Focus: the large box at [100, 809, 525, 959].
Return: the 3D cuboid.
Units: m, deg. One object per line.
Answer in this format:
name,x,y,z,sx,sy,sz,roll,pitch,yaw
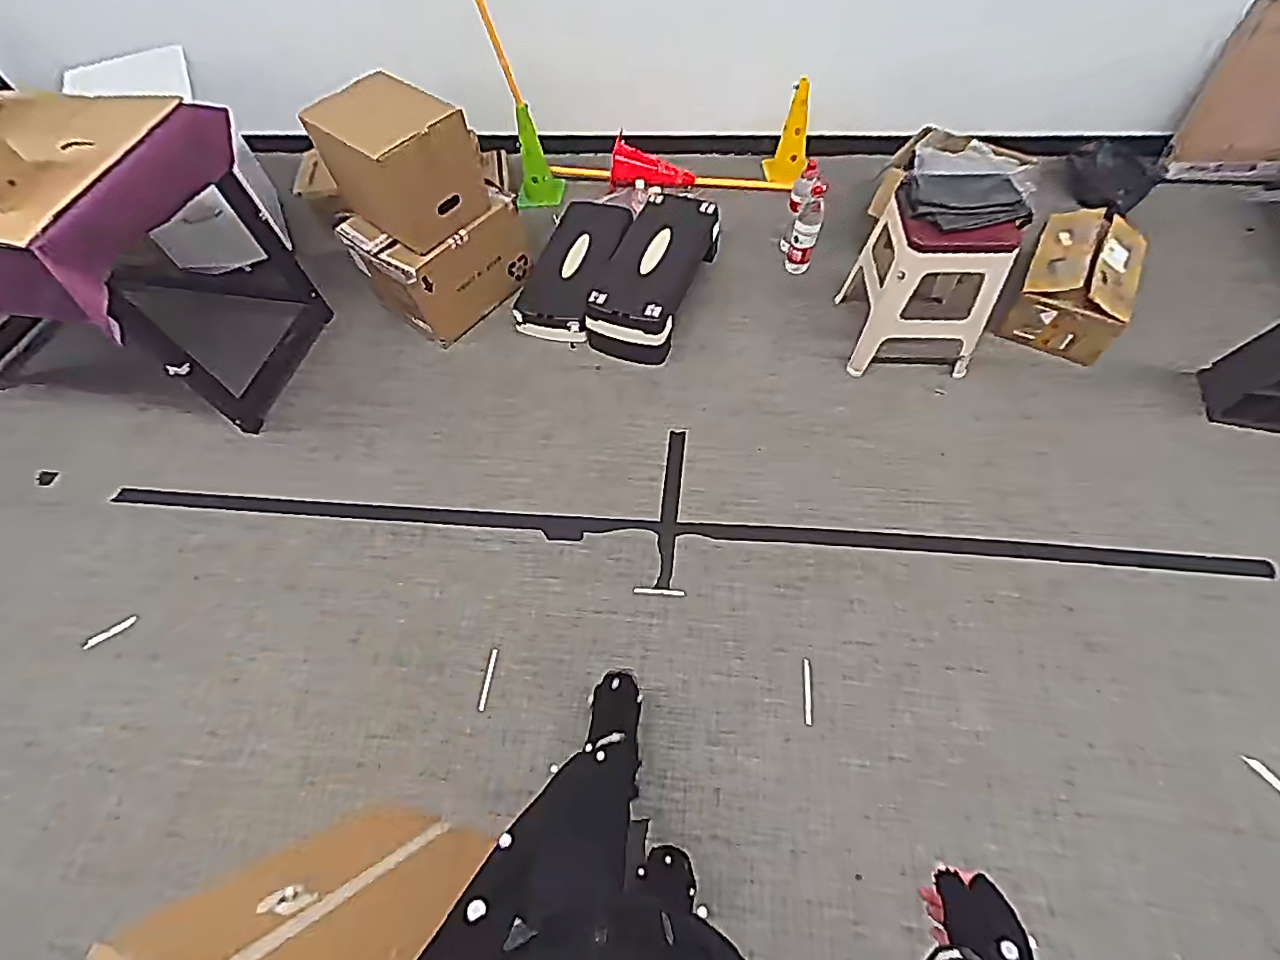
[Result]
large box,-0.399,0.701,0.691,0.320,0.408,0.320,4,81,19
